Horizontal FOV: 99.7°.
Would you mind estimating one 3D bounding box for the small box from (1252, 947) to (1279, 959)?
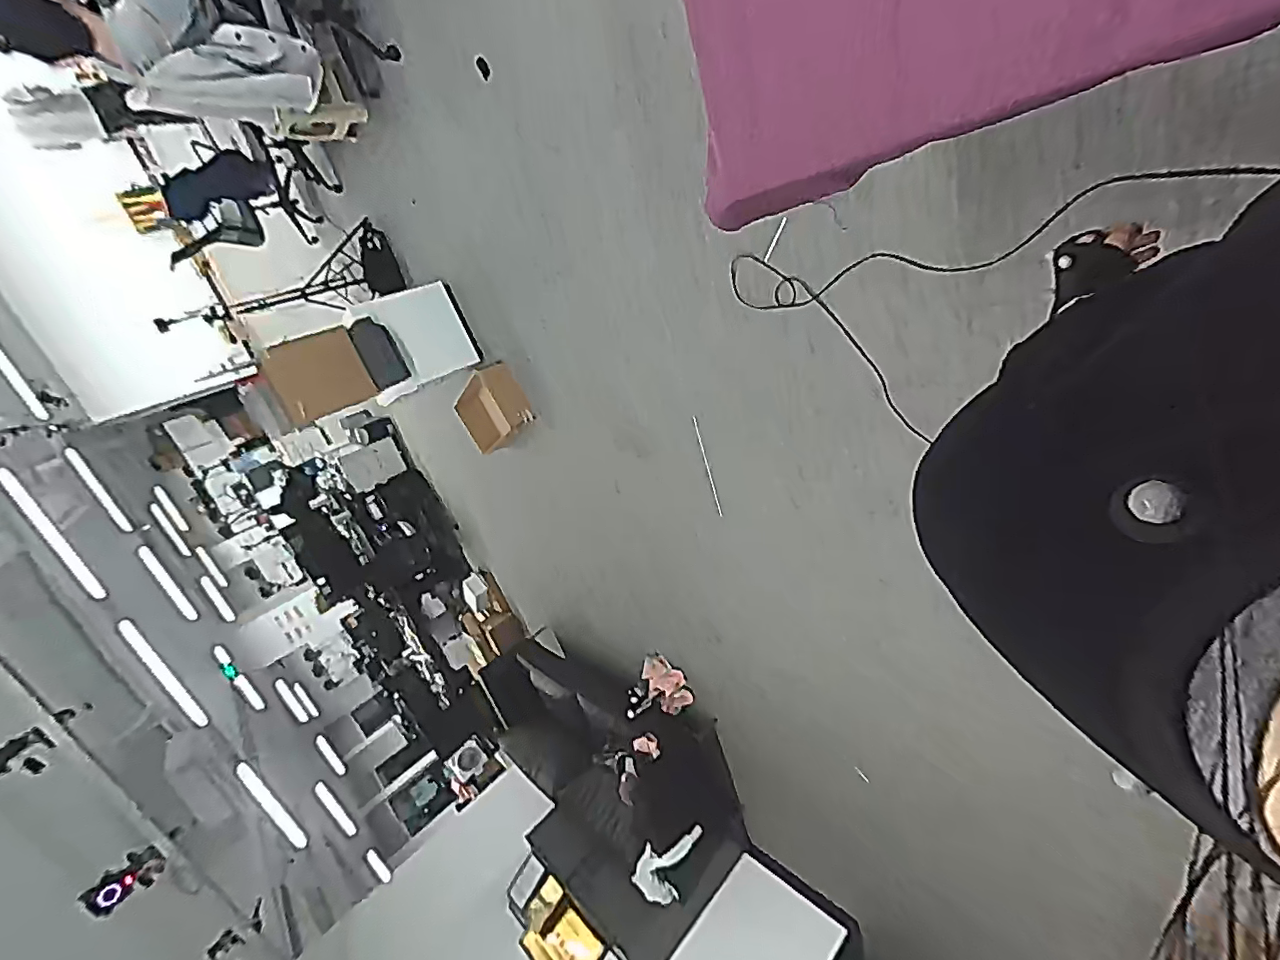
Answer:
[{"bbox_3d":[1.796,1.457,1.482,0.168,0.176,0.179,9,122,49],"label":"small box"}]
